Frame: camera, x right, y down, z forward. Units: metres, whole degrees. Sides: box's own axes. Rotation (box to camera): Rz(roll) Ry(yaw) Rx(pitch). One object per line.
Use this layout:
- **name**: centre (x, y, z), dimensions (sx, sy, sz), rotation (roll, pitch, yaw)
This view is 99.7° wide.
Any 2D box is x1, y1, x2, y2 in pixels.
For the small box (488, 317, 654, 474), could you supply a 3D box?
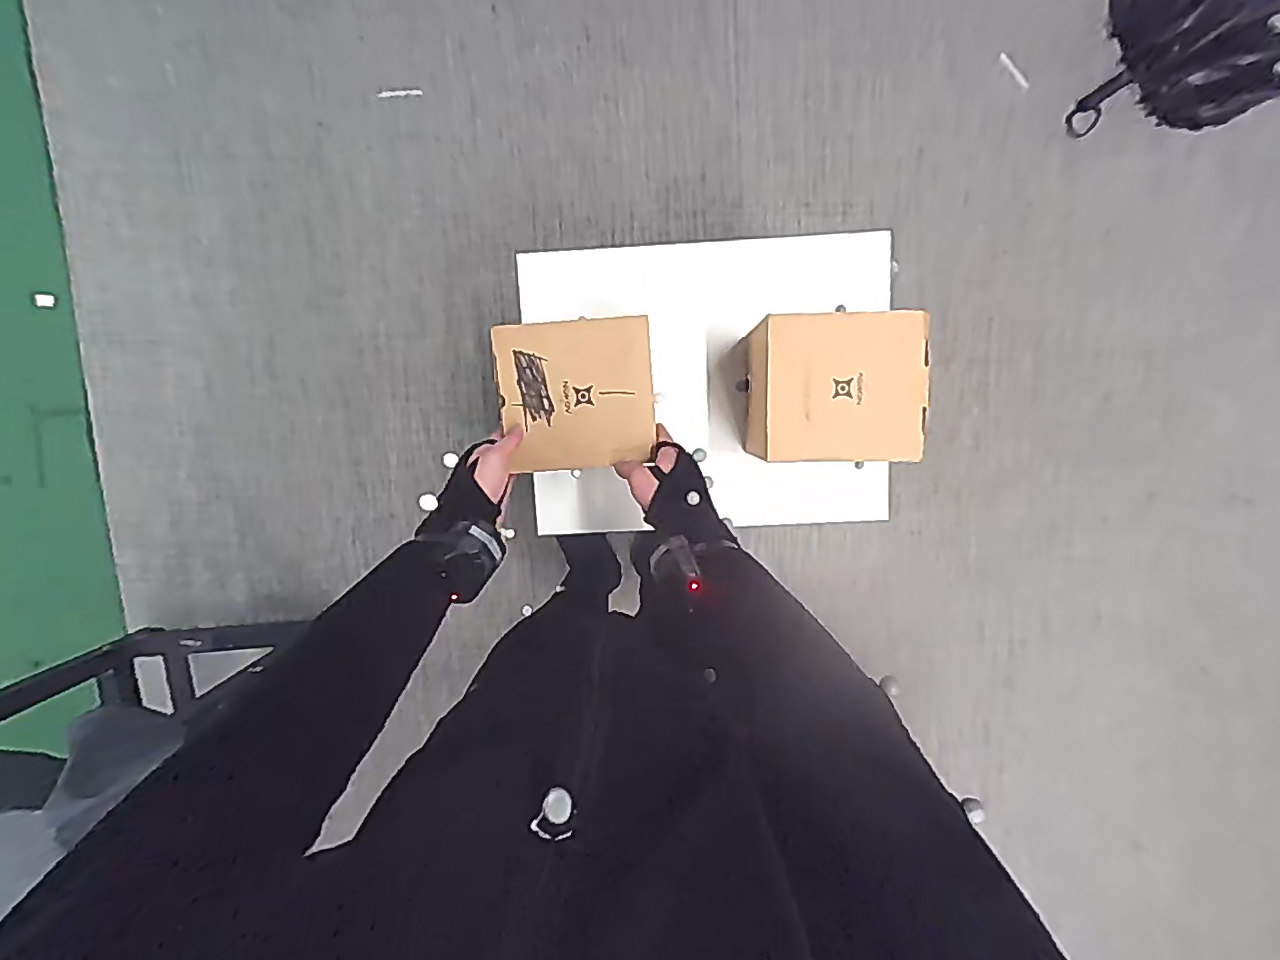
- **small box**: centre (-0.074, -0.100, 0.675), dimensions (0.179, 0.176, 0.168), rotation (-4, 97, 0)

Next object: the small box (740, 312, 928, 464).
- **small box**: centre (0.225, -0.109, 0.667), dimensions (0.179, 0.176, 0.168), rotation (-1, 96, 3)
